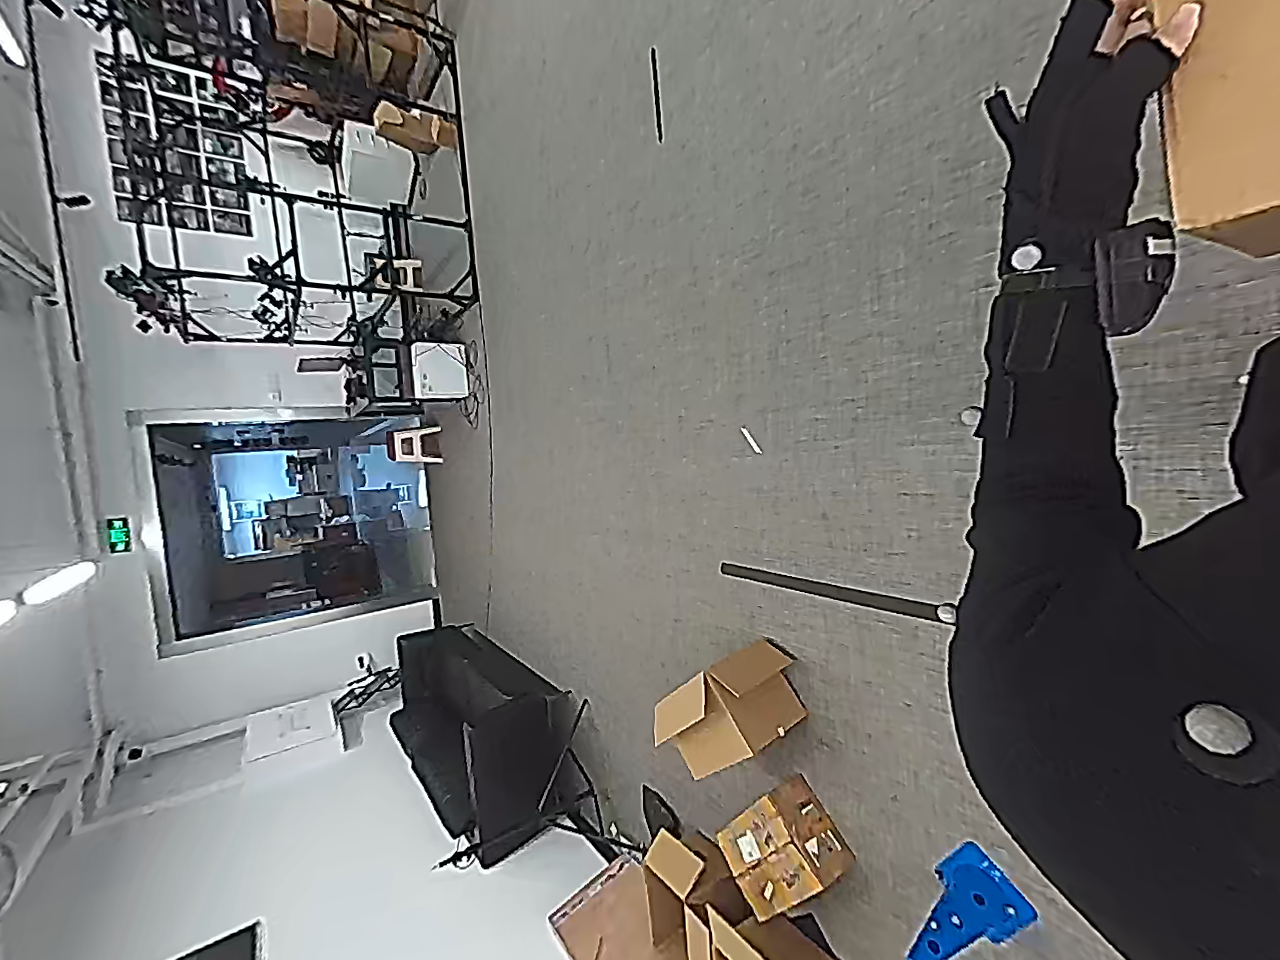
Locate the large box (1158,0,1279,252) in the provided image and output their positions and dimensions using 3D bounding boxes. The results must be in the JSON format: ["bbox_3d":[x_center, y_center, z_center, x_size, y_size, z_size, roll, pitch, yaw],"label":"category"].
[{"bbox_3d":[0.521,-0.336,0.233,0.408,0.320,0.320,-5,98,54],"label":"large box"}]
